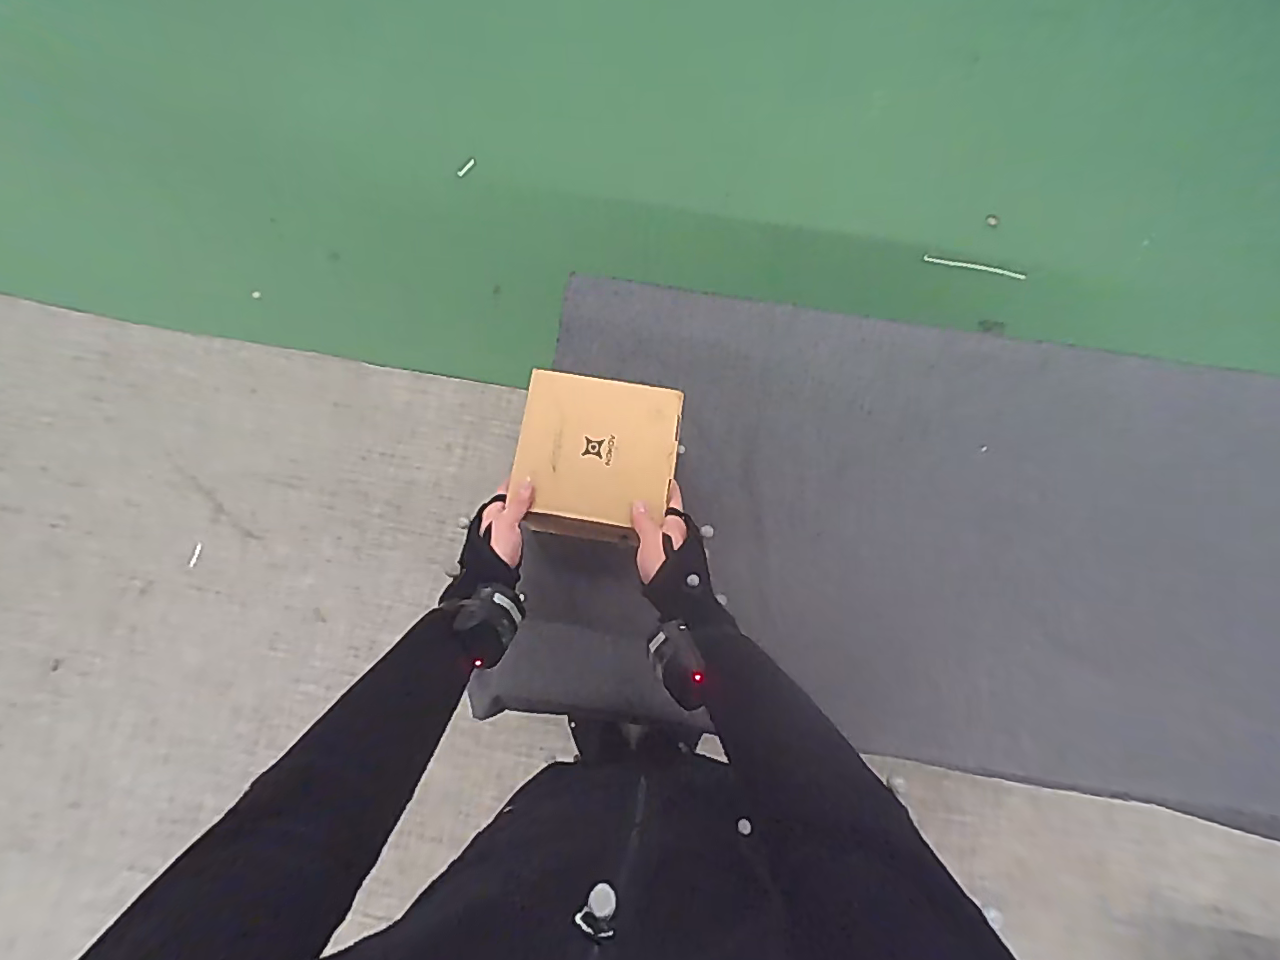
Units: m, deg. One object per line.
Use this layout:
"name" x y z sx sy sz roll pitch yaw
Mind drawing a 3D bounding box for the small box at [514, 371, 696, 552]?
"small box" -0.039 -0.011 0.660 0.179 0.176 0.168 8 74 -1
